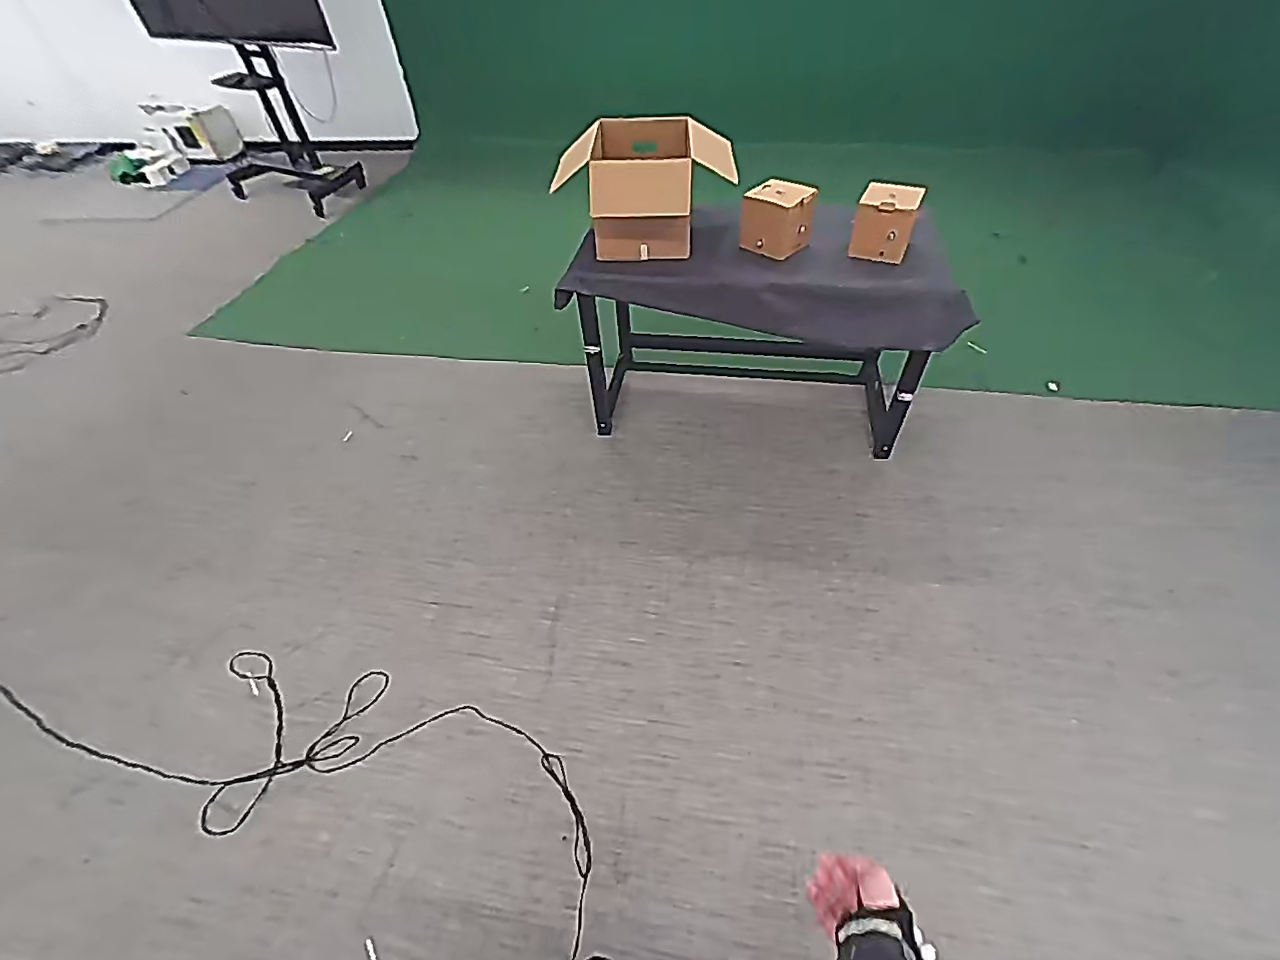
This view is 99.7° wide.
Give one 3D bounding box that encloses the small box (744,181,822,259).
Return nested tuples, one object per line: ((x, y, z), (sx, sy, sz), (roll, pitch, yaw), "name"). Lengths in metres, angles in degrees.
((0.461, -0.846, 1.768), (0.179, 0.176, 0.168), (34, 59, 29), "small box")

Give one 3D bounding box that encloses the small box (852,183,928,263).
((0.785, -0.810, 1.708), (0.168, 0.176, 0.179), (19, 52, 19), "small box")
